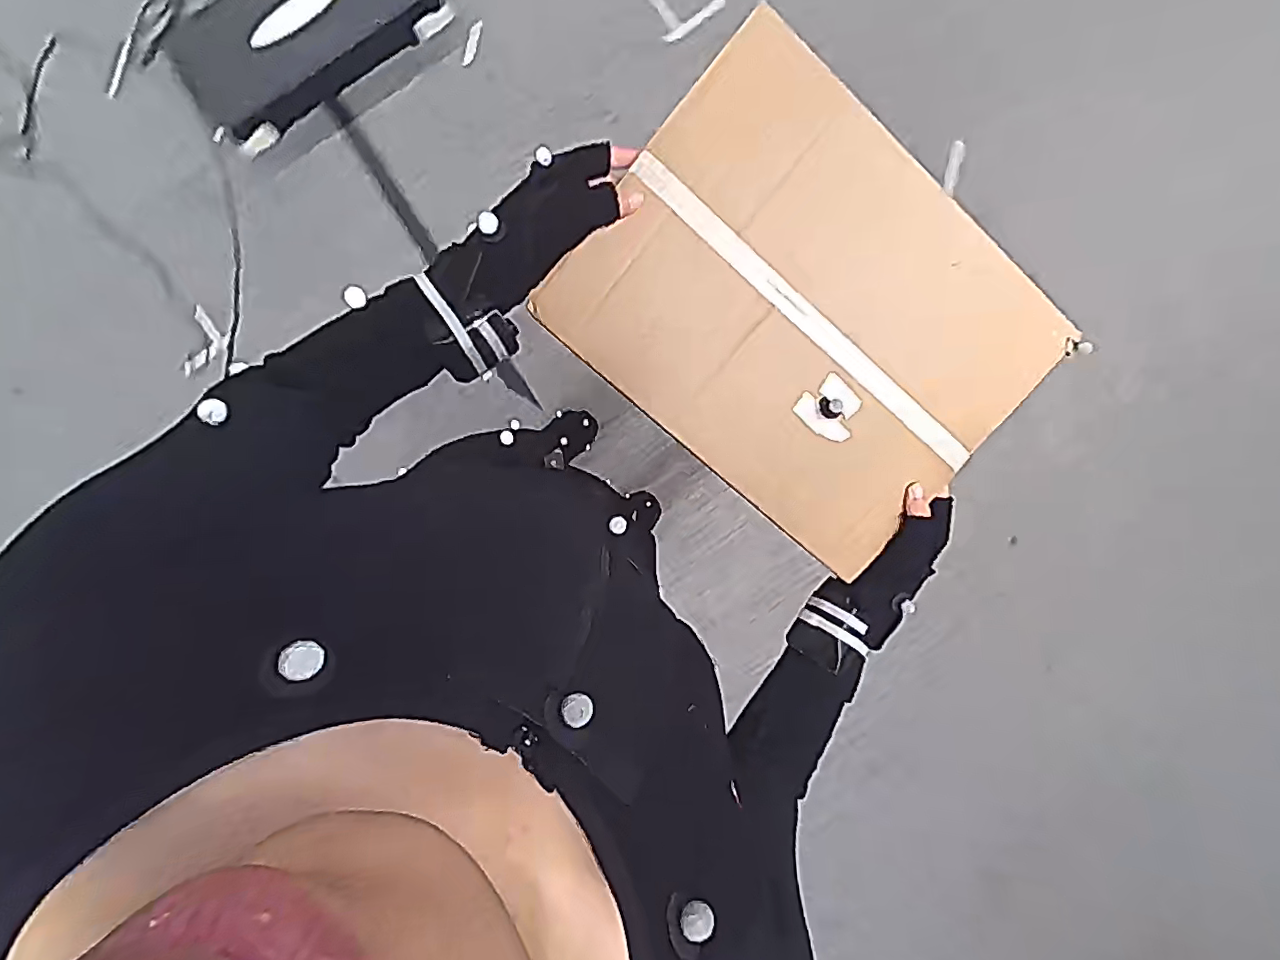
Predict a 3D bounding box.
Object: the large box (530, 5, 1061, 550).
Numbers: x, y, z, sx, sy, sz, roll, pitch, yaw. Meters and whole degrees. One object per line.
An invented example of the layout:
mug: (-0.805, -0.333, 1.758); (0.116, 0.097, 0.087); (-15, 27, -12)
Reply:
large box: (0.138, -0.189, 0.637); (0.408, 0.320, 0.320); (38, 98, -9)
